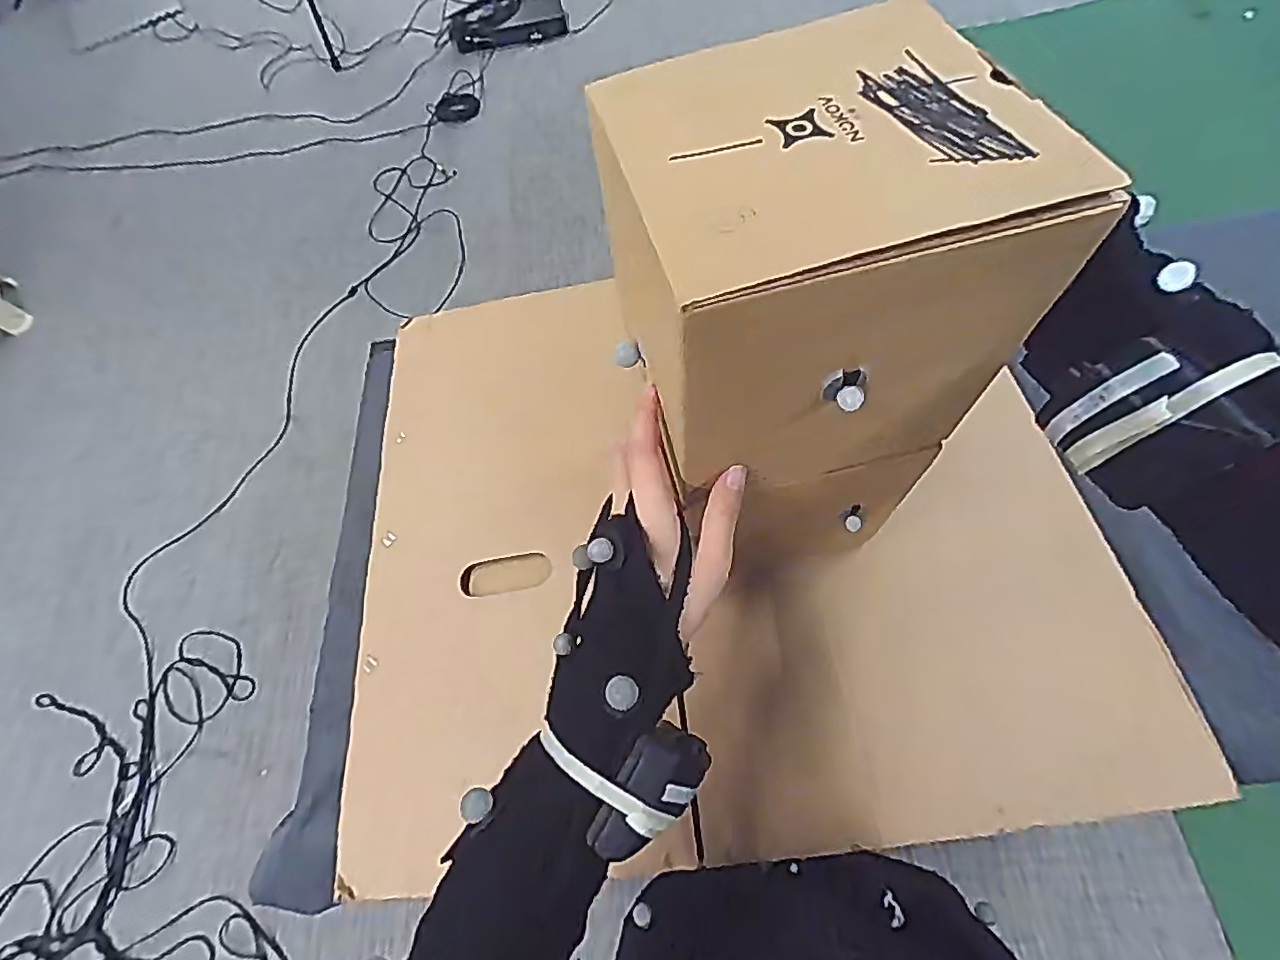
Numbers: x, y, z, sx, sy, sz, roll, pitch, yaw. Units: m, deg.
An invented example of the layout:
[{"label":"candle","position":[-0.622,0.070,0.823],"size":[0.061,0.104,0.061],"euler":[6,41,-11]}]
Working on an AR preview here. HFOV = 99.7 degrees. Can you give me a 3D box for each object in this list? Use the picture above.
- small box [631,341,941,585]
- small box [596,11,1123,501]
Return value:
[{"label":"small box","position":[0.099,-0.030,0.448],"size":[0.179,0.176,0.168],"euler":[-14,61,-2]},{"label":"small box","position":[0.086,-0.110,0.304],"size":[0.179,0.176,0.168],"euler":[-15,61,-2]}]
